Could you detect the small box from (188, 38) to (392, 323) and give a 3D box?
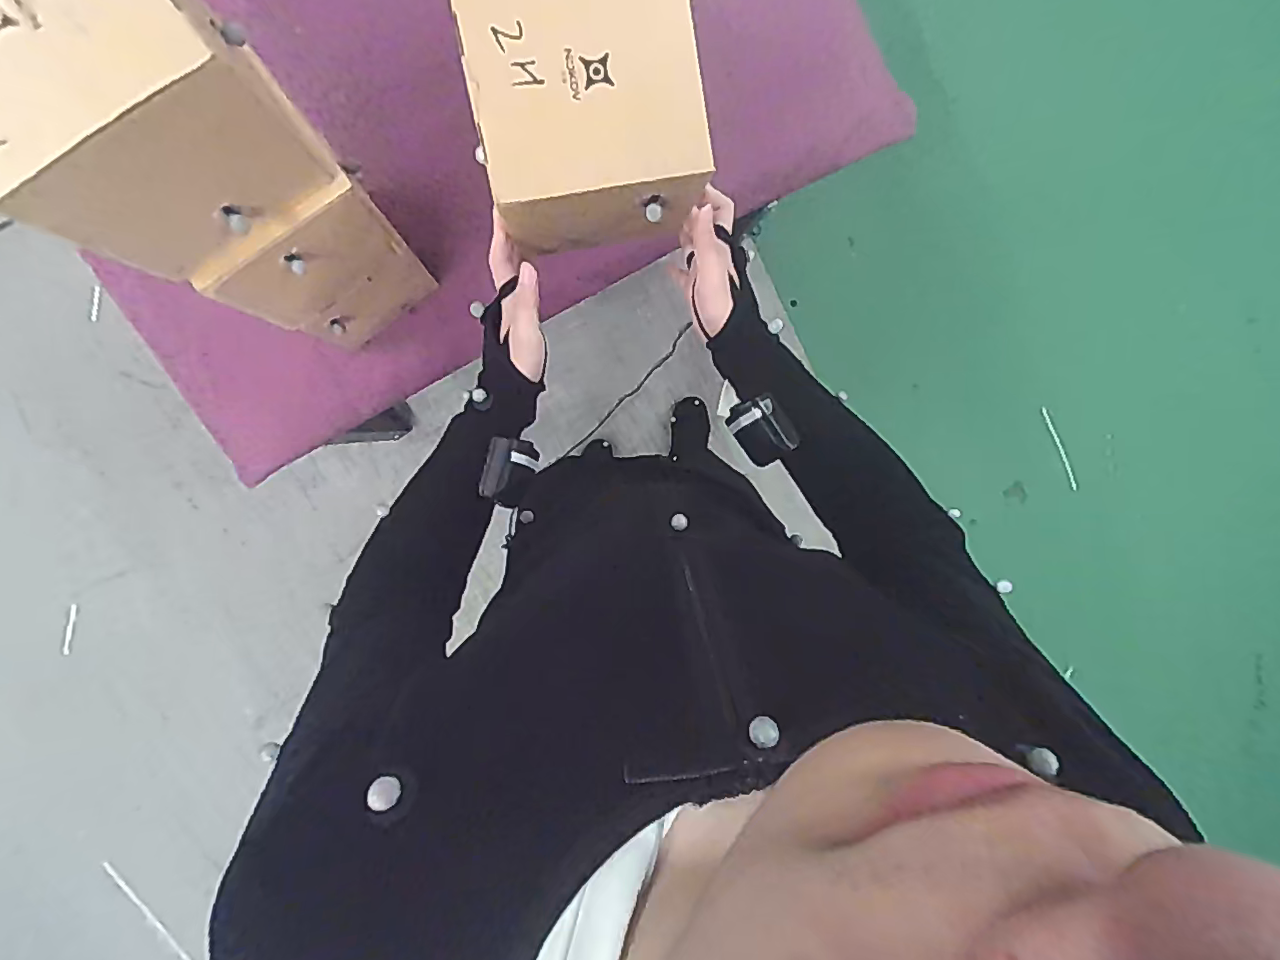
[{"bbox_3d":[-0.394,-0.294,0.574,0.179,0.176,0.168,-37,98,-2],"label":"small box"}]

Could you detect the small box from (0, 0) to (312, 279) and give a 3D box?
[{"bbox_3d":[-0.390,-0.287,0.410,0.179,0.176,0.168,-36,97,-3],"label":"small box"}]

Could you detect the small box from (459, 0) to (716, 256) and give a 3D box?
[{"bbox_3d":[-0.045,-0.315,0.484,0.179,0.176,0.168,-10,100,-4],"label":"small box"}]
